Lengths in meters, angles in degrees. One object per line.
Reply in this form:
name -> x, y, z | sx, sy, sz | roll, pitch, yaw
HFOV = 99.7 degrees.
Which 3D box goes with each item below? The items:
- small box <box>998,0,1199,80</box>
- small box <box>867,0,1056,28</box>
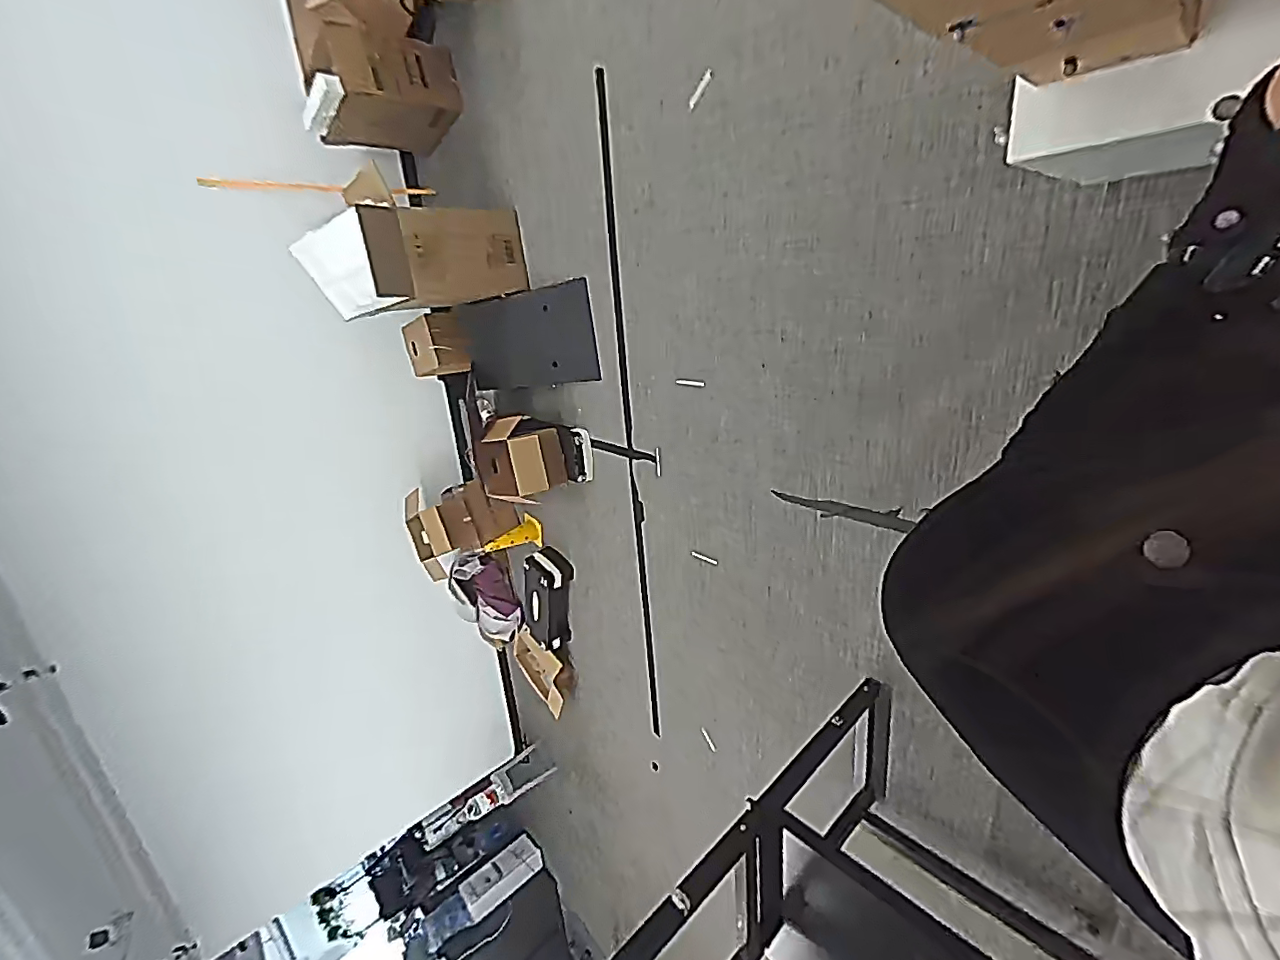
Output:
small box -> 0.562, -0.611, 0.650 | 0.168, 0.176, 0.179 | 16, 118, 45
small box -> 0.315, -0.517, 0.454 | 0.168, 0.176, 0.179 | 20, 120, 44
